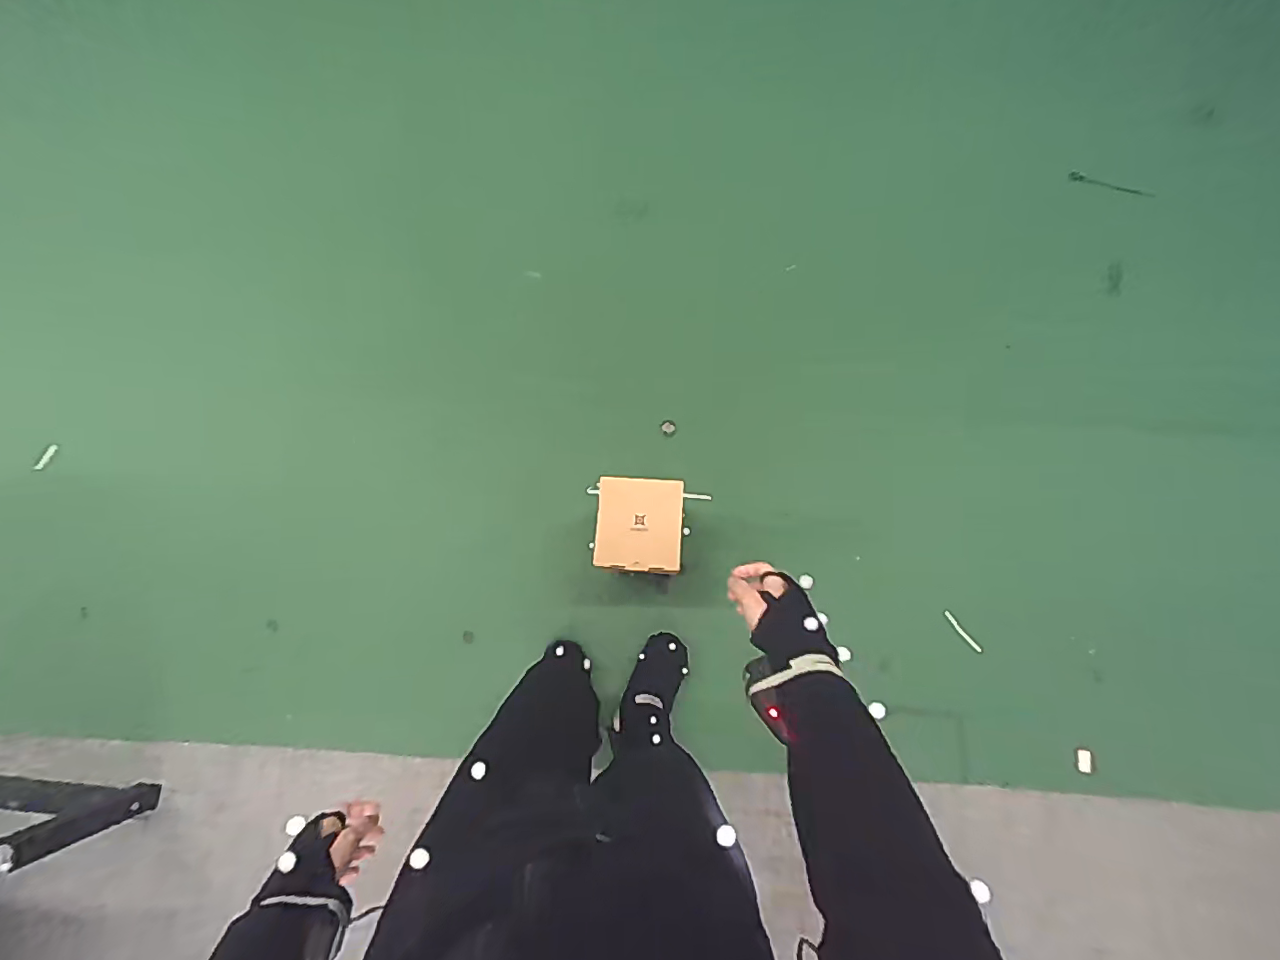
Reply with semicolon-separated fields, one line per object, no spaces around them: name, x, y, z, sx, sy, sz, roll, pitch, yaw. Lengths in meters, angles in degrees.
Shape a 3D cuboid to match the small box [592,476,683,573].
small box;-0.002;0.097;1.113;0.168;0.176;0.179;3;79;2
